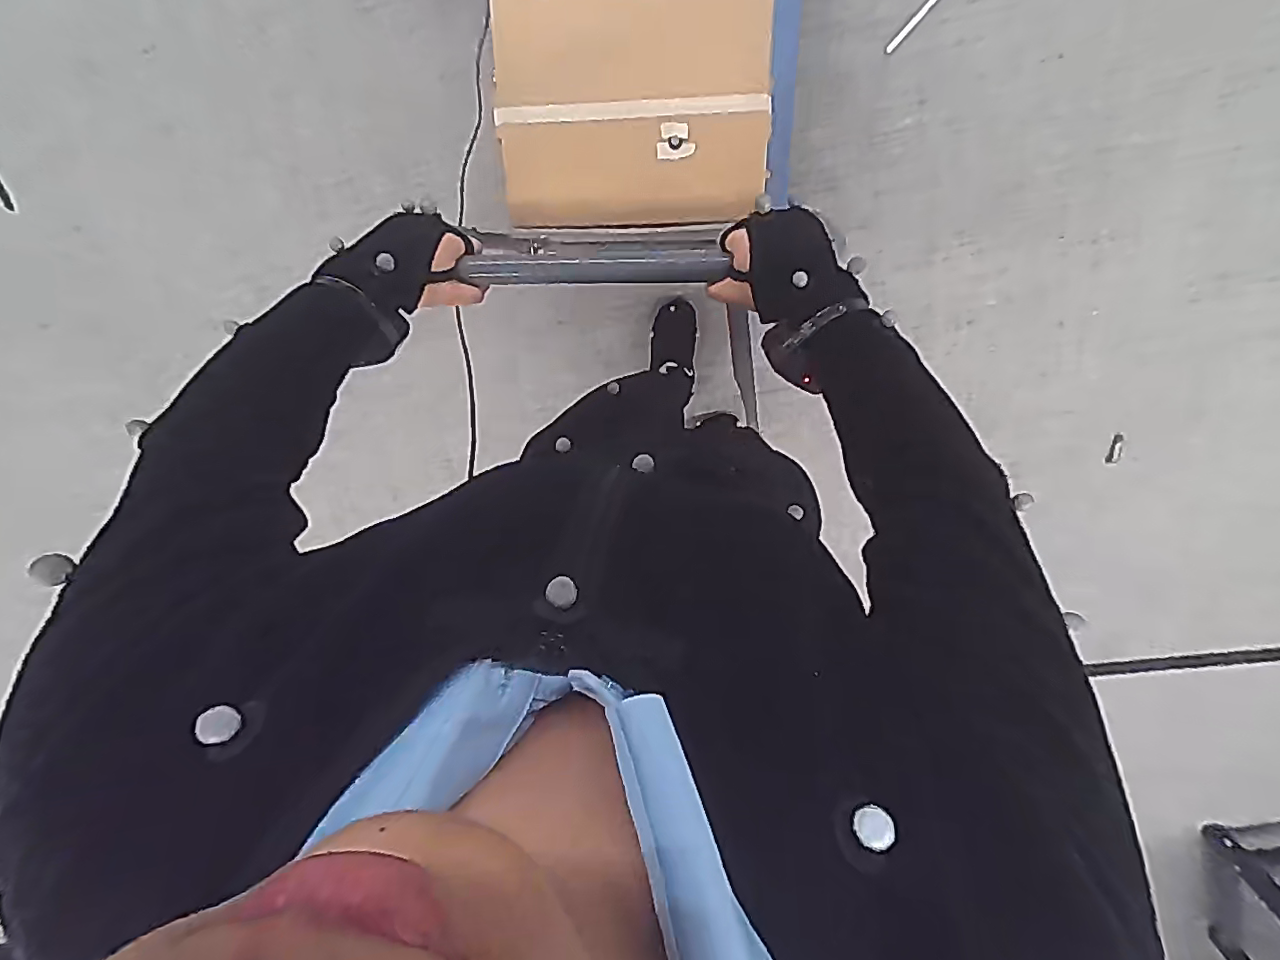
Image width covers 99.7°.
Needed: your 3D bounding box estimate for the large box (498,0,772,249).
[{"bbox_3d":[0.002,-0.600,0.963,0.408,0.320,0.320,0,110,4],"label":"large box"}]
